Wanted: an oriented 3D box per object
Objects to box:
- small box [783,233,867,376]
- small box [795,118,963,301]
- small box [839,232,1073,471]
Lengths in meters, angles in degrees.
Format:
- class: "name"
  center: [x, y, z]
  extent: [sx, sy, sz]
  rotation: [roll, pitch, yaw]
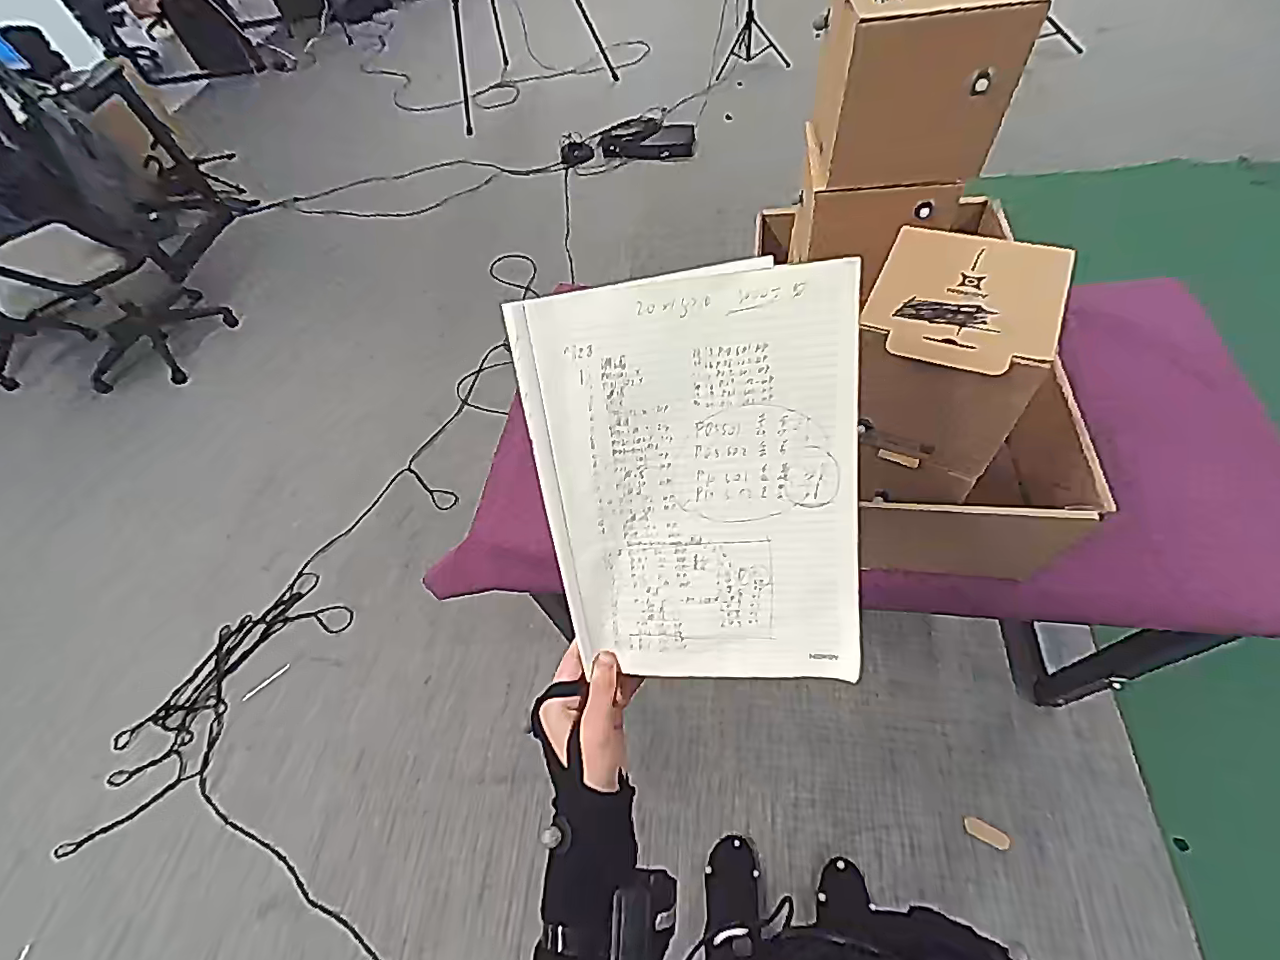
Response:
- class: "small box"
  center: [0.329, -0.285, 0.892]
  extent: [0.168, 0.176, 0.179]
  rotation: [3, 59, 11]
- class: "small box"
  center: [0.313, -0.368, 0.754]
  extent: [0.179, 0.176, 0.168]
  rotation: [1, 58, 9]
- class: "small box"
  center: [0.329, -0.137, 0.591]
  extent: [0.168, 0.176, 0.179]
  rotation: [20, 60, 23]
